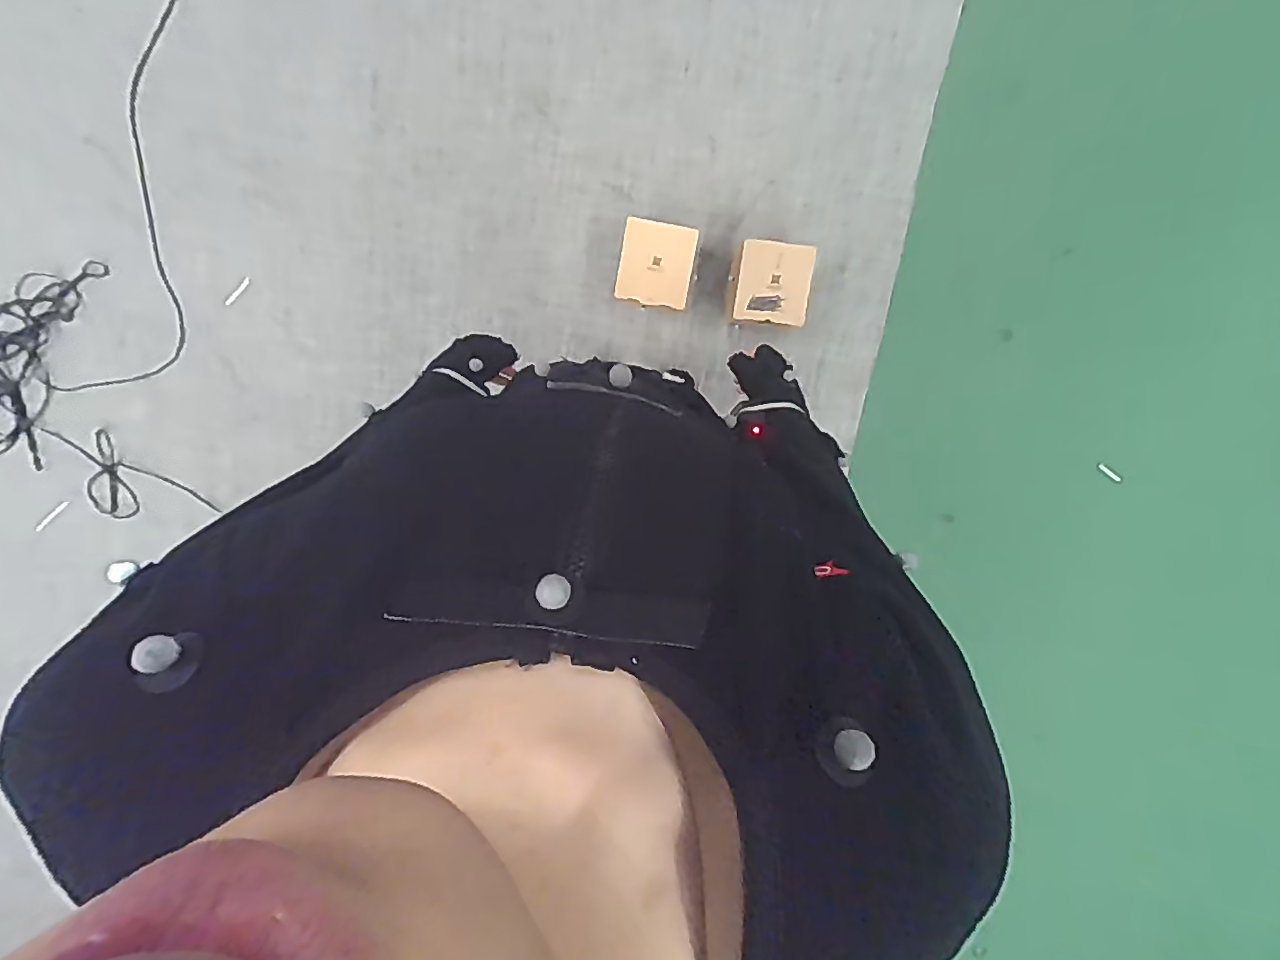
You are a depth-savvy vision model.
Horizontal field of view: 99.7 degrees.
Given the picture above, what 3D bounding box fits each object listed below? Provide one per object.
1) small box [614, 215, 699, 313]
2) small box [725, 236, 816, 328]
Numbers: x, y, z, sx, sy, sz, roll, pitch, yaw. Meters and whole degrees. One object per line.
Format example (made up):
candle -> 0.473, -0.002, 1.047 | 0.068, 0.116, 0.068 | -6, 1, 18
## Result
small box -> 0.036, -0.506, 1.289 | 0.168, 0.176, 0.179 | 10, 104, -1
small box -> 0.301, -0.464, 1.292 | 0.168, 0.176, 0.179 | 7, 103, 0
